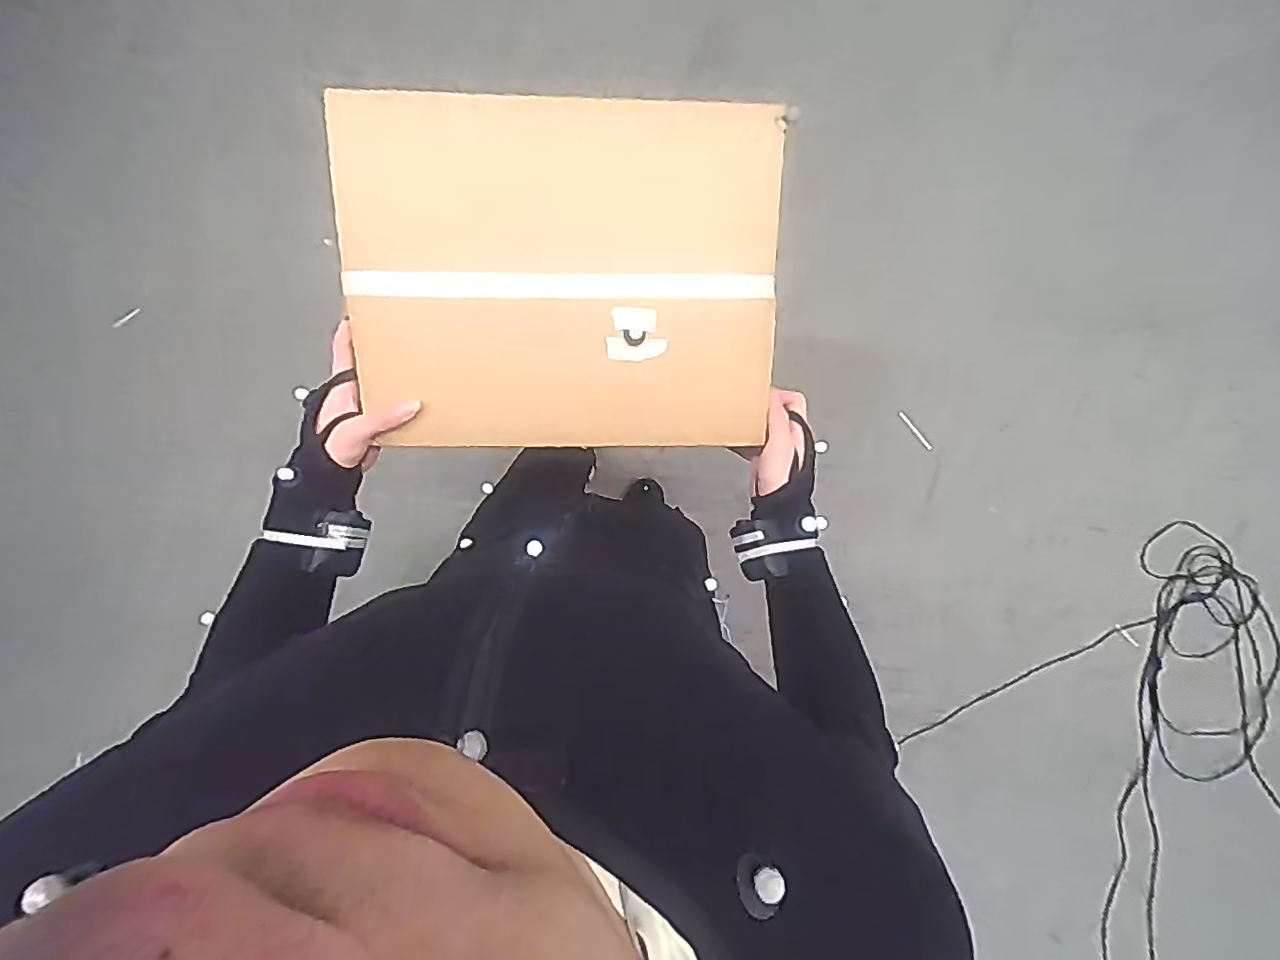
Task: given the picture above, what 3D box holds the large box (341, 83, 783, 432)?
[{"bbox_3d":[-0.077,-0.238,0.665,0.408,0.320,0.320,0,105,-4],"label":"large box"}]
